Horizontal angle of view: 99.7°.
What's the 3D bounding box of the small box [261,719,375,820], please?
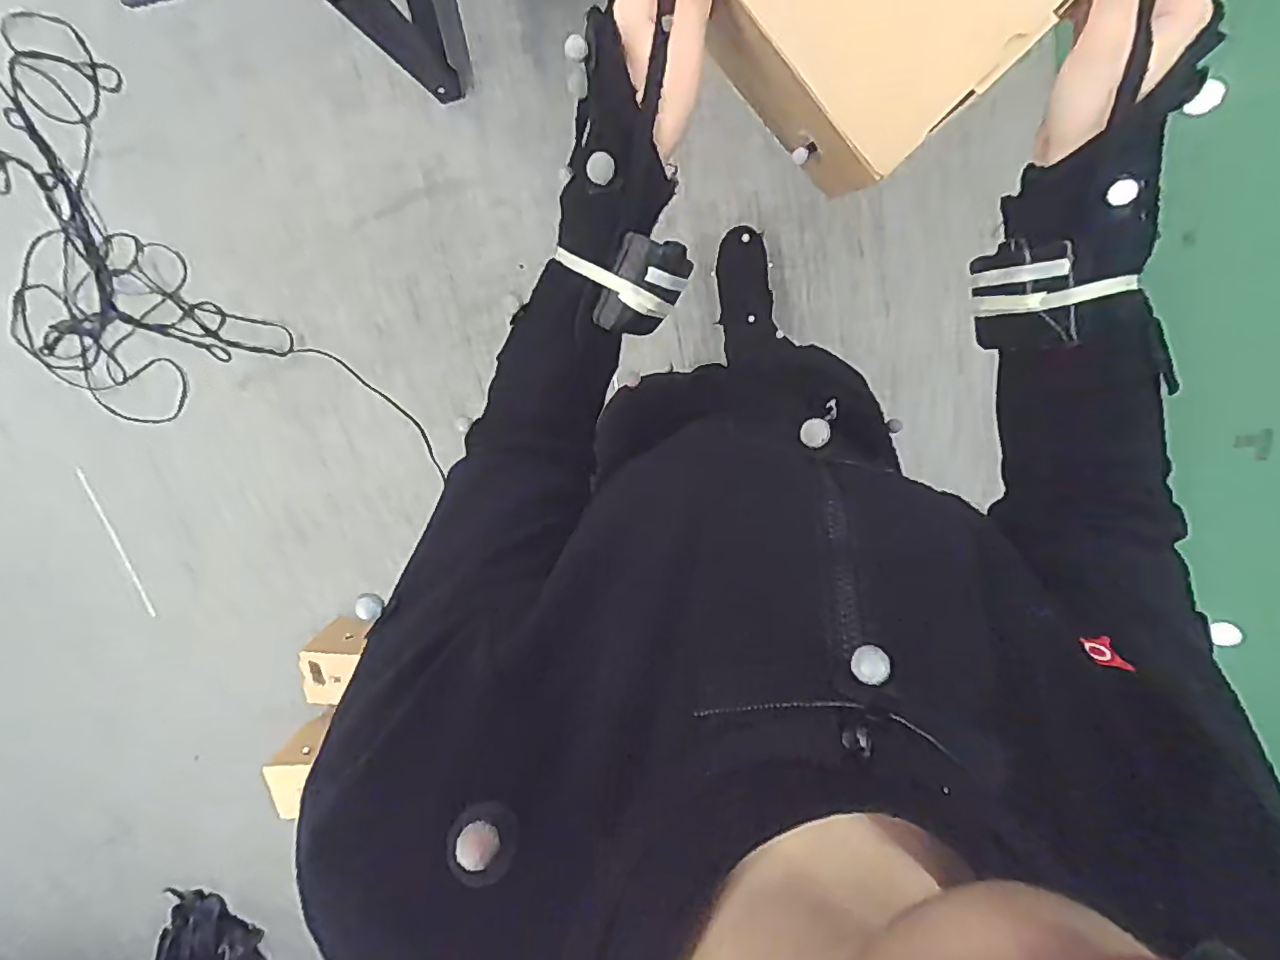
[{"bbox_3d":[-0.834,0.753,1.417,0.179,0.176,0.168,-6,105,5],"label":"small box"}]
